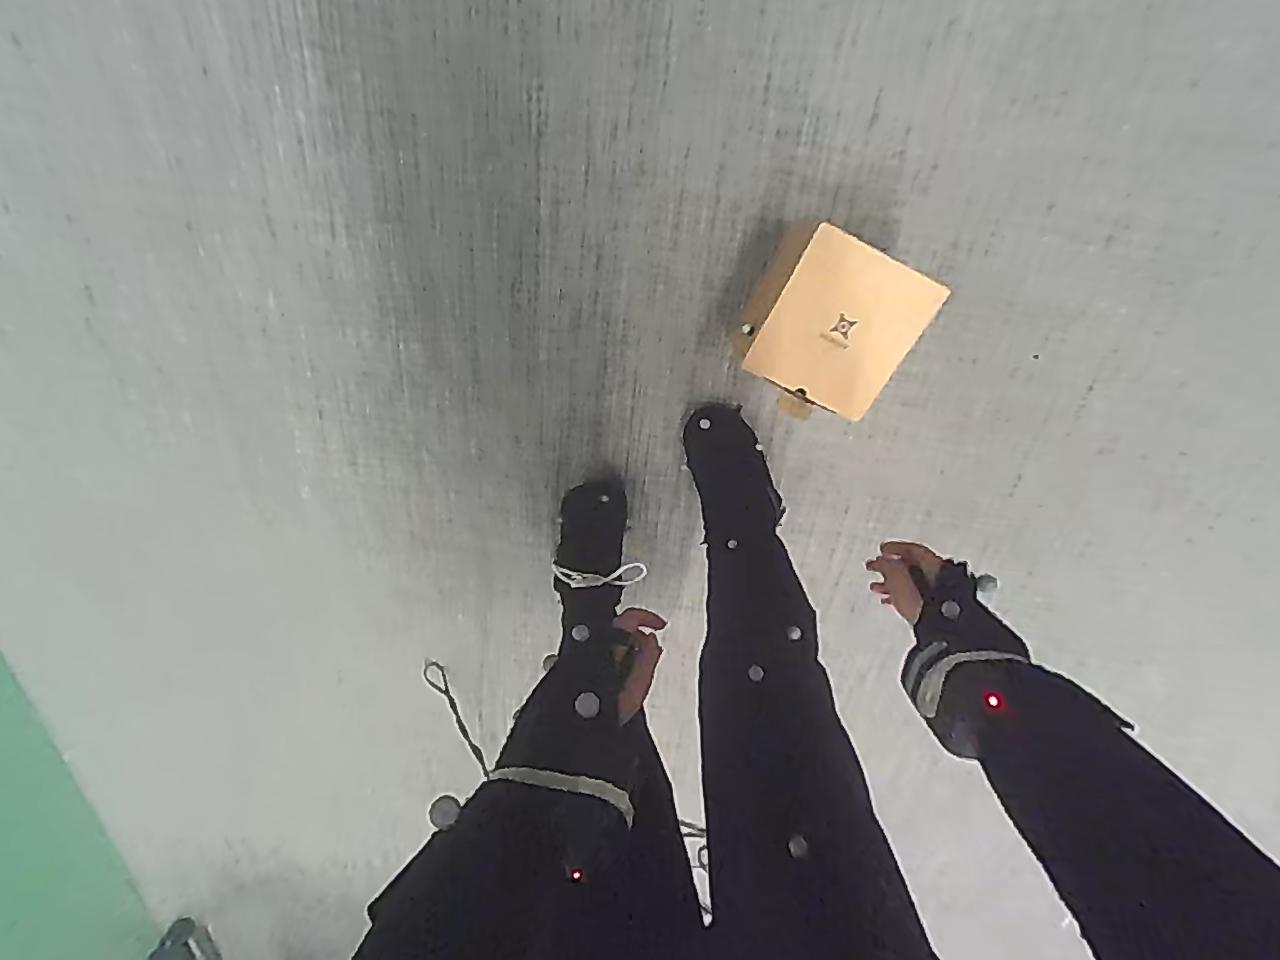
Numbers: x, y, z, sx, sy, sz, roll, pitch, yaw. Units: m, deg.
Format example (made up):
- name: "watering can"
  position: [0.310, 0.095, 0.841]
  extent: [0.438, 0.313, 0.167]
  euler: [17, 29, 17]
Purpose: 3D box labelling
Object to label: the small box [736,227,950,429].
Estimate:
- name: "small box"
  position: [0.233, -0.198, 0.679]
  extent: [0.168, 0.176, 0.179]
  euler: [24, 116, -7]
